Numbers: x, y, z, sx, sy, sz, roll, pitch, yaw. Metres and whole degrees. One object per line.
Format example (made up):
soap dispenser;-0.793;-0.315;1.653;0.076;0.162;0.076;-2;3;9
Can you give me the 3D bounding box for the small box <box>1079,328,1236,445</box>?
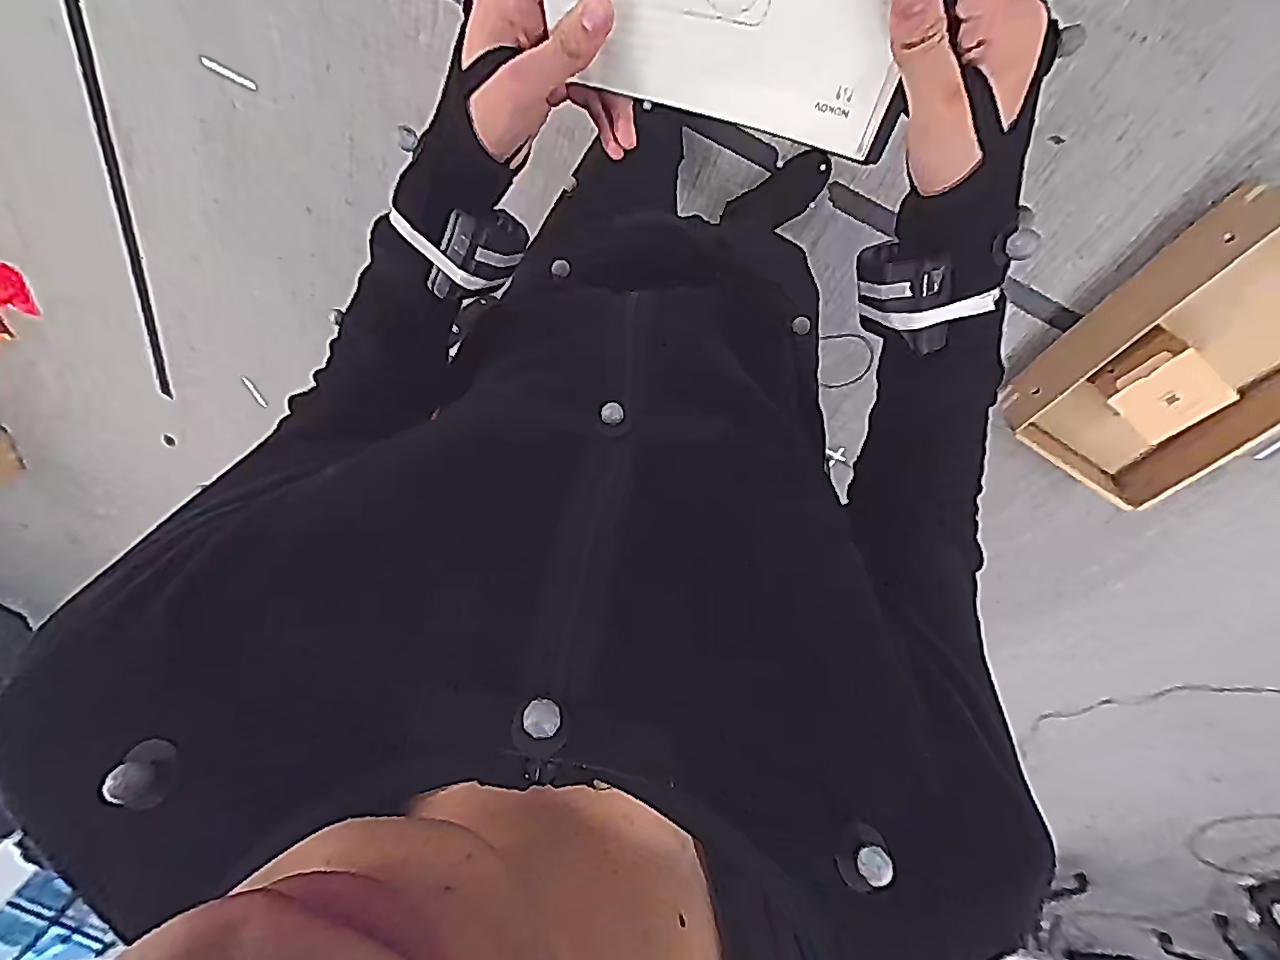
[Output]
small box;1.154;-0.220;1.224;0.179;0.176;0.168;37;127;-12
